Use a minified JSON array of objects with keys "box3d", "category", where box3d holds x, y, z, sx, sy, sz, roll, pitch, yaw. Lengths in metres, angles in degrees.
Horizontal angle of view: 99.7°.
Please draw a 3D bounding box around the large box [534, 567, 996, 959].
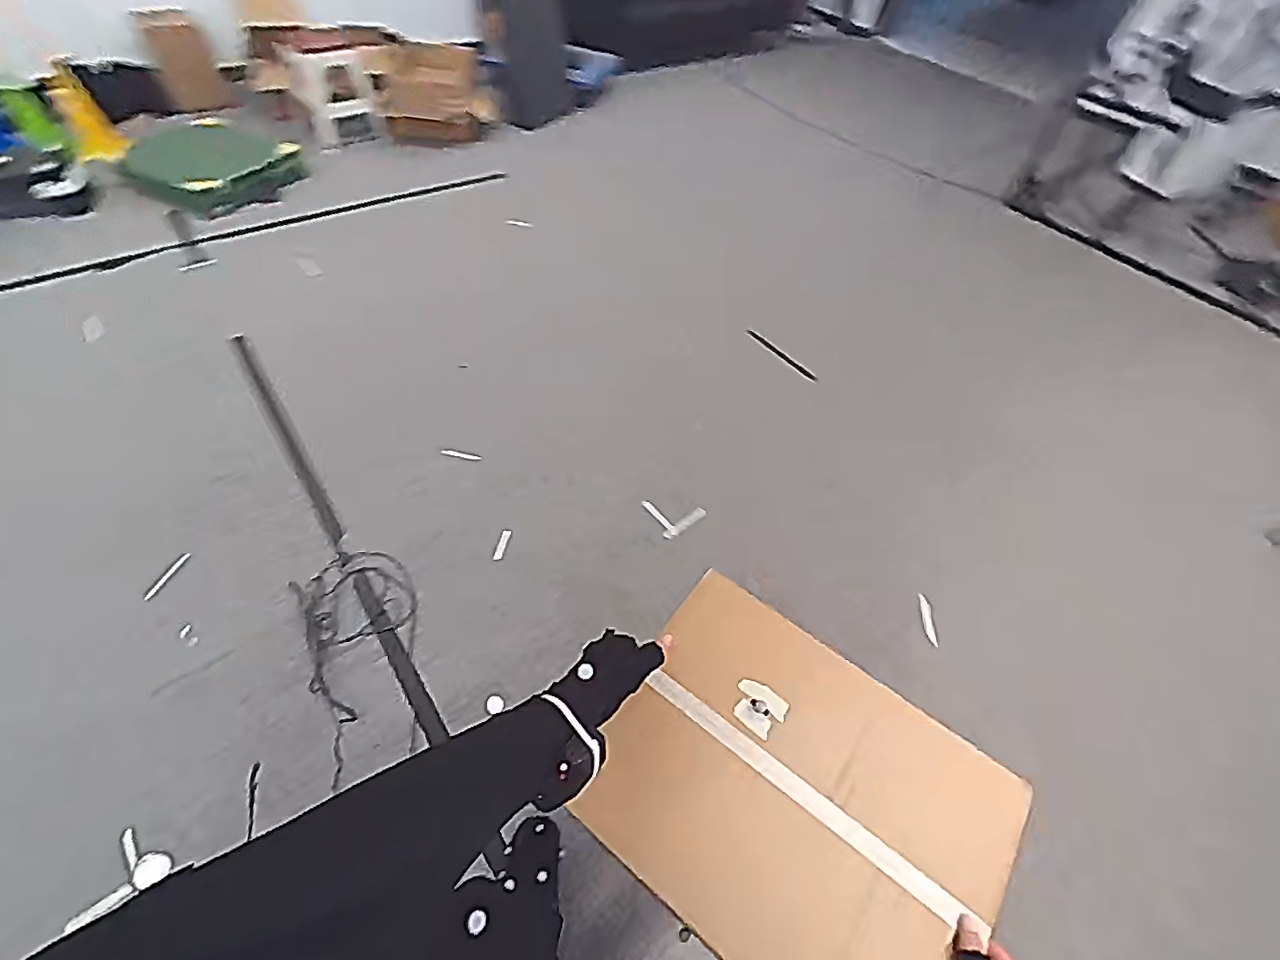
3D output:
[{"box3d":[0.135,0.391,0.695,0.408,0.320,0.320,31,59,20],"category":"large box"}]
